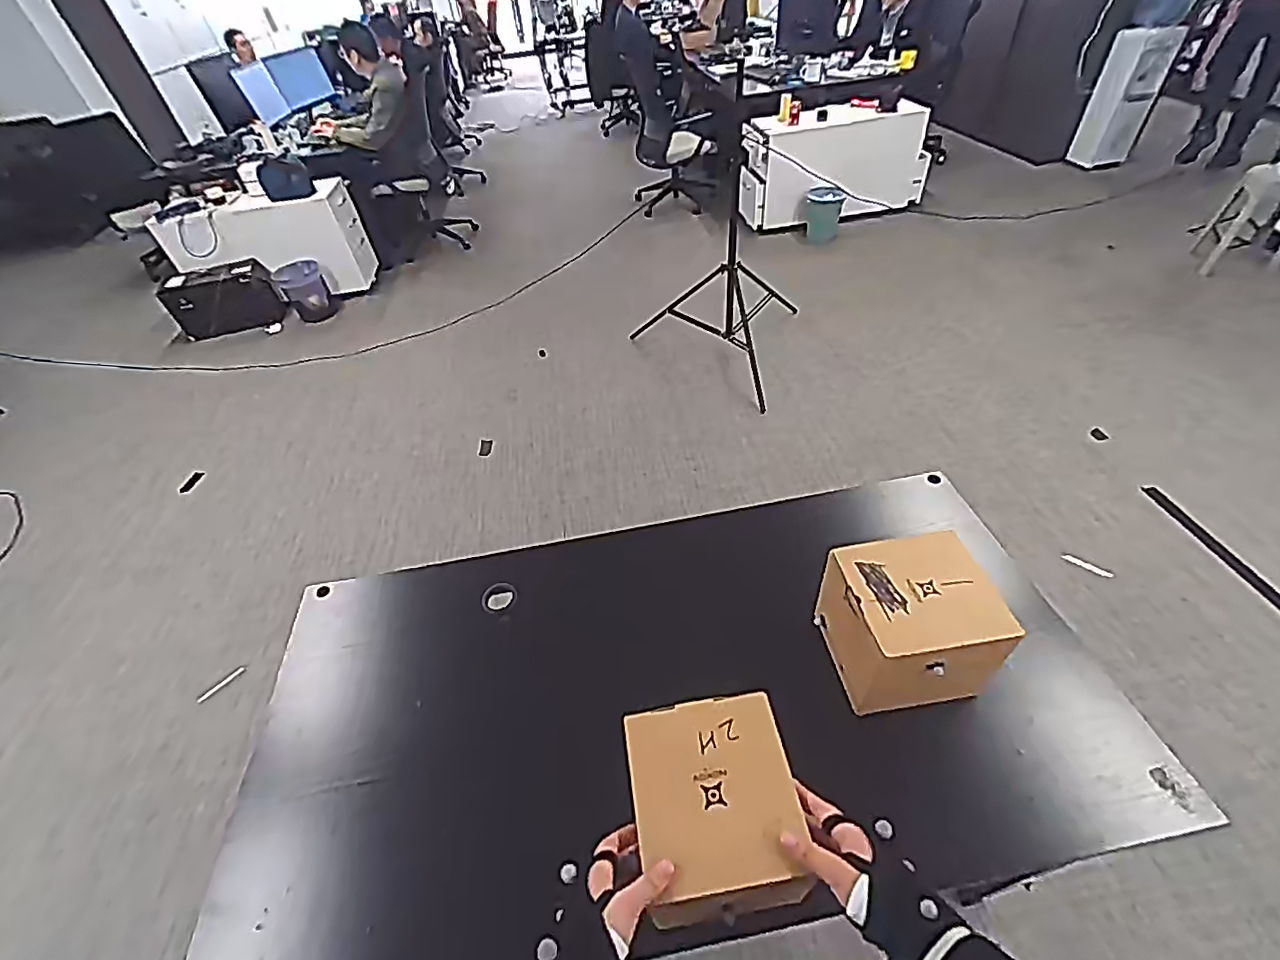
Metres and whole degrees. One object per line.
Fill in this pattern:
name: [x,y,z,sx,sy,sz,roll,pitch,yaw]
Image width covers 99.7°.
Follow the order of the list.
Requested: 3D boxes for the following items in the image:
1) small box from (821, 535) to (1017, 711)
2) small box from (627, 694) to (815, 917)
small box: [0.366,0.203,0.755,0.179,0.176,0.168,-8,45,-2]
small box: [0.083,0.376,0.618,0.168,0.176,0.179,-9,44,-2]
